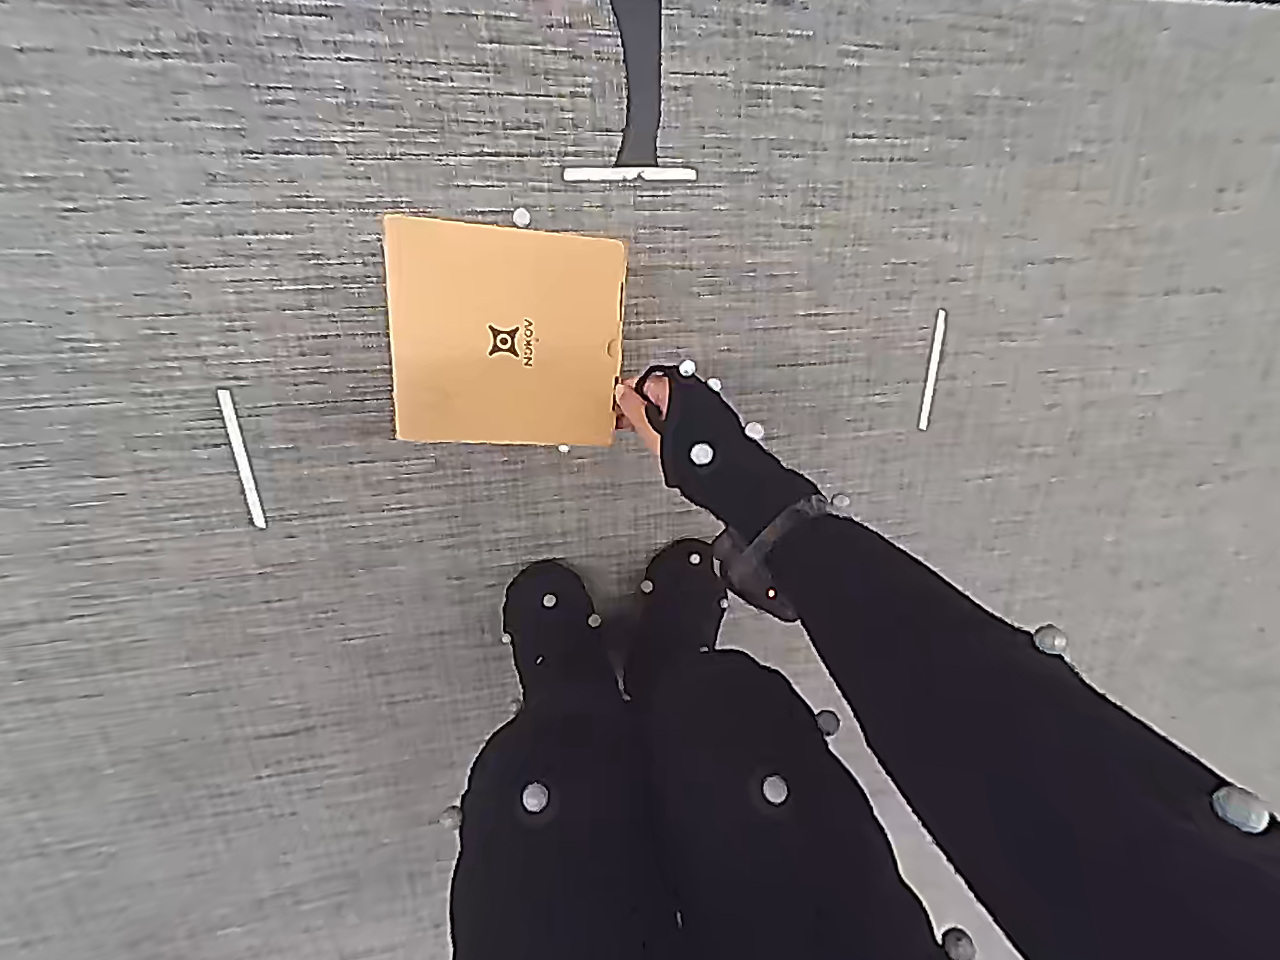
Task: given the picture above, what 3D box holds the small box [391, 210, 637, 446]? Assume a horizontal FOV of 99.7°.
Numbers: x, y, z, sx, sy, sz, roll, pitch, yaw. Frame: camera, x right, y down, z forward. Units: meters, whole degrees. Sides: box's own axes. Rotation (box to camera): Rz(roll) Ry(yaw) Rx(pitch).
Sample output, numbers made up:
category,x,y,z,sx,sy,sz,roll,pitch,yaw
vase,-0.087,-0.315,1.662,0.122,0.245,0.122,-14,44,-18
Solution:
category,x,y,z,sx,sy,sz,roll,pitch,yaw
small box,-0.110,-0.133,0.487,0.179,0.176,0.168,0,110,-13
